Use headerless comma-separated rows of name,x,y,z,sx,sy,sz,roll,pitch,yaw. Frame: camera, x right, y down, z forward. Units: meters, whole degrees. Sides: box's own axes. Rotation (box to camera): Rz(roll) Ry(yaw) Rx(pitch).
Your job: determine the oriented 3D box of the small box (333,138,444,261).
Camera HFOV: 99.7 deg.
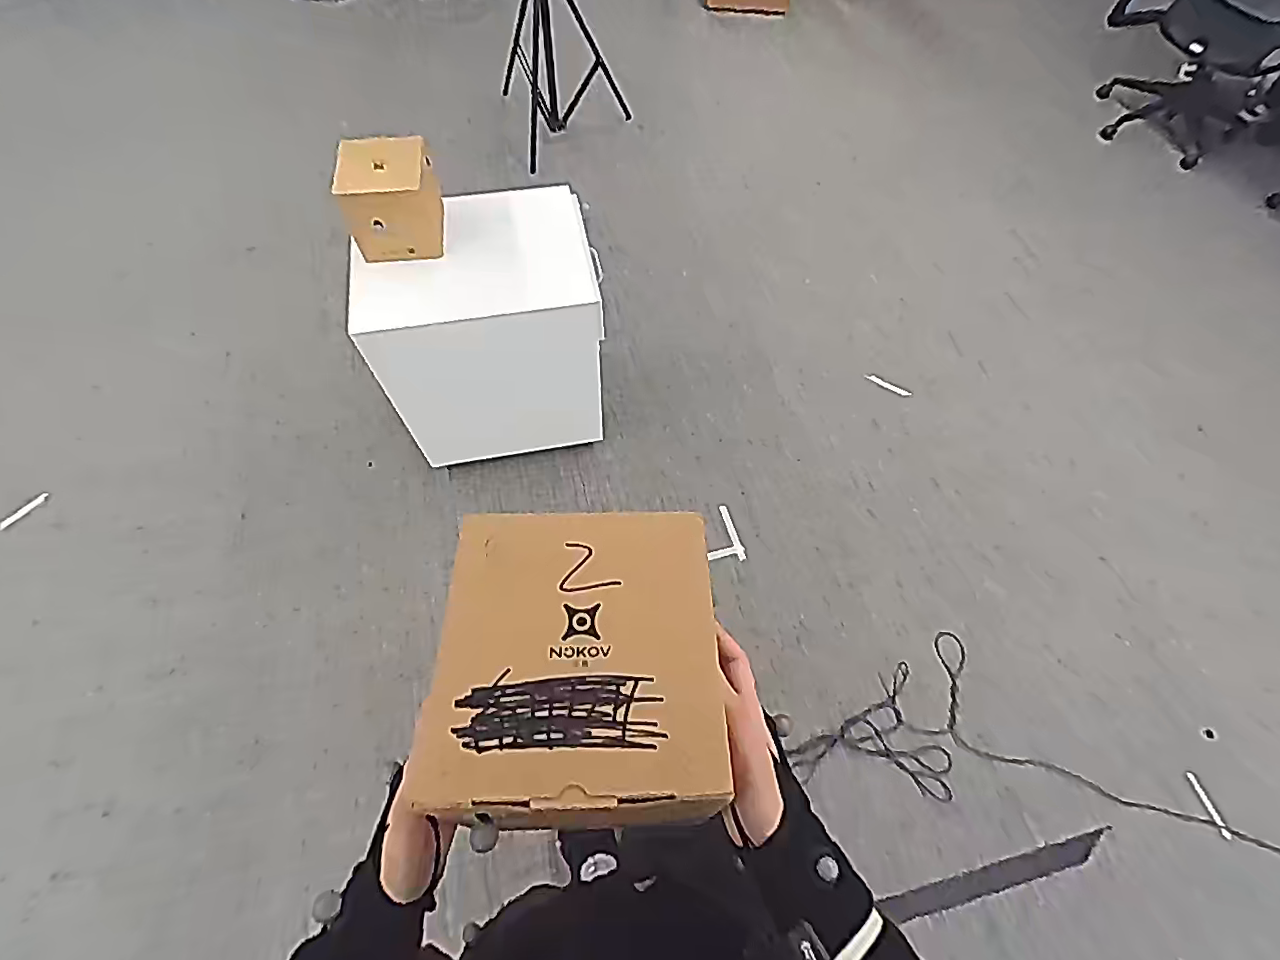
small box,-0.521,-0.585,1.145,0.168,0.176,0.179,-7,63,-7
